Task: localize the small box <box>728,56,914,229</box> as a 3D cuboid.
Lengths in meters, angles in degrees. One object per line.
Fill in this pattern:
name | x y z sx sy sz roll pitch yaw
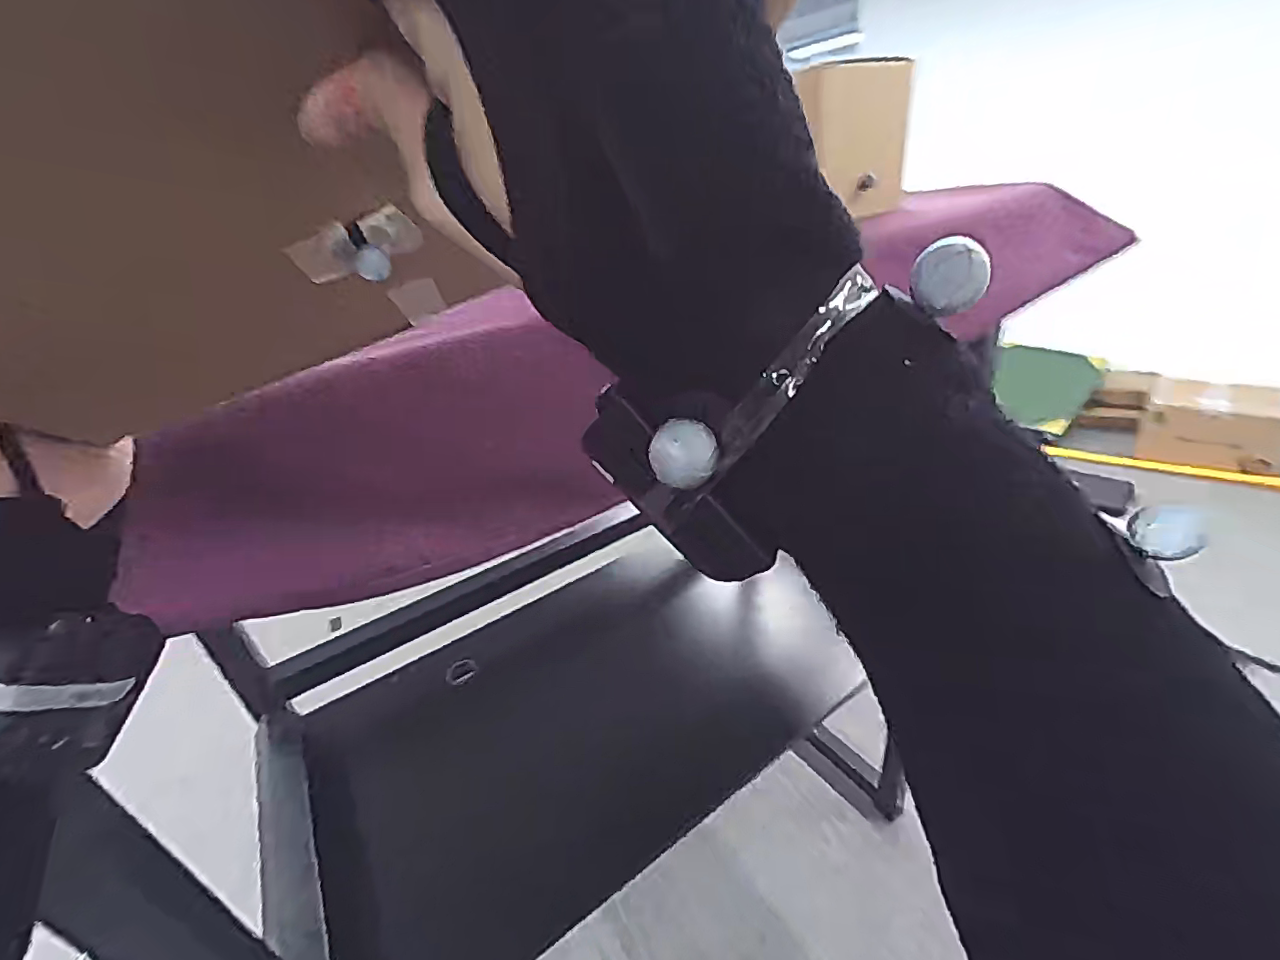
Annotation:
small box | 0.228 -0.438 0.718 0.179 0.176 0.168 -24 32 -27
